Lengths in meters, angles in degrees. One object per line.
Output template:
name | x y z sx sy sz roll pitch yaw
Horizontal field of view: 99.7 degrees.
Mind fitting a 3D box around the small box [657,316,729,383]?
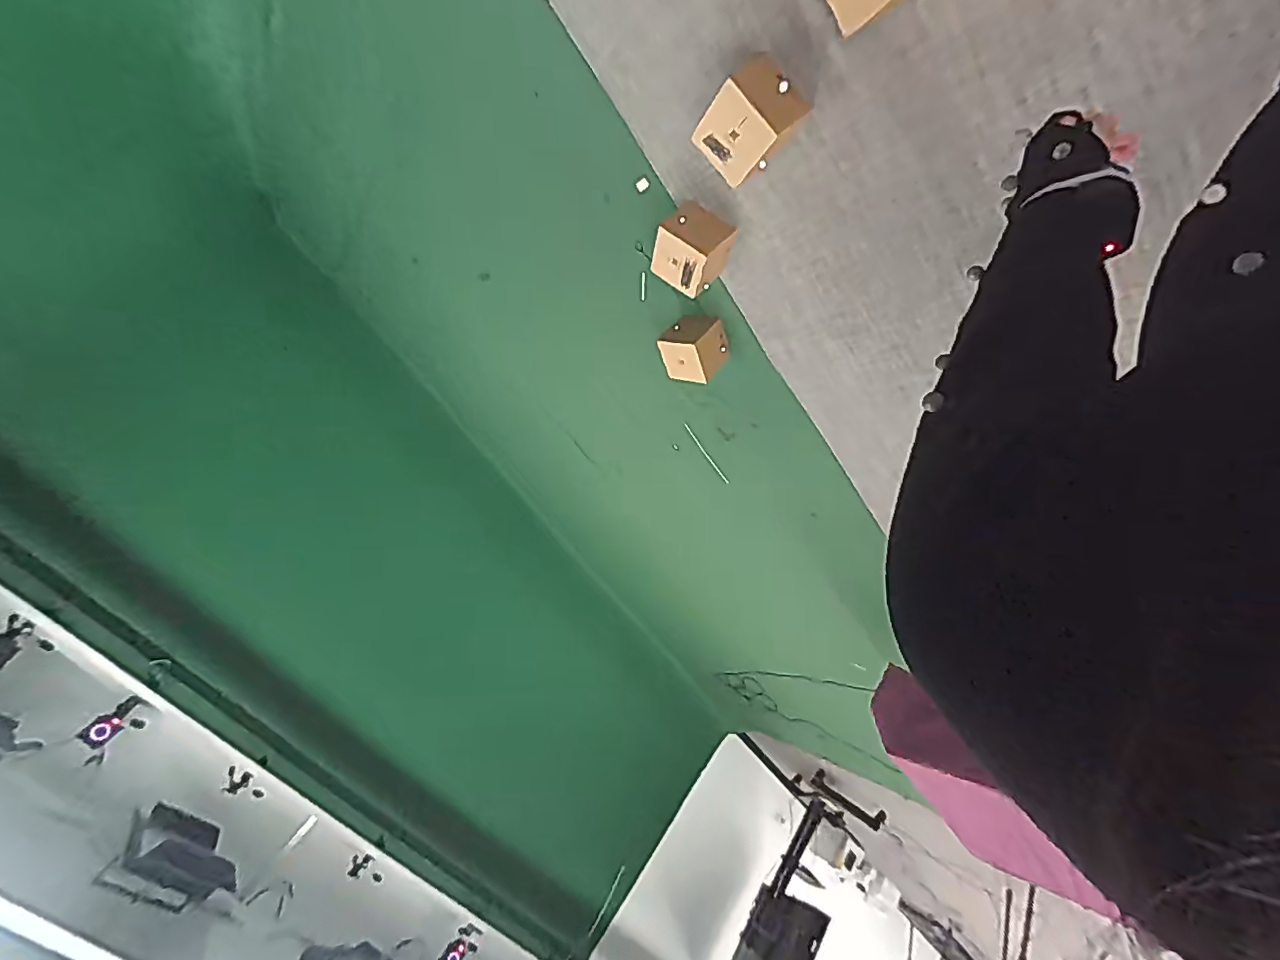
small box | 0.195 -0.478 1.959 0.179 0.176 0.168 18 145 39

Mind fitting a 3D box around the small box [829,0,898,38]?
small box | 0.432 -0.939 0.943 0.168 0.176 0.179 53 152 -19

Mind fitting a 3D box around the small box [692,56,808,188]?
small box | 0.265 -0.855 1.294 0.168 0.176 0.179 46 153 -8
